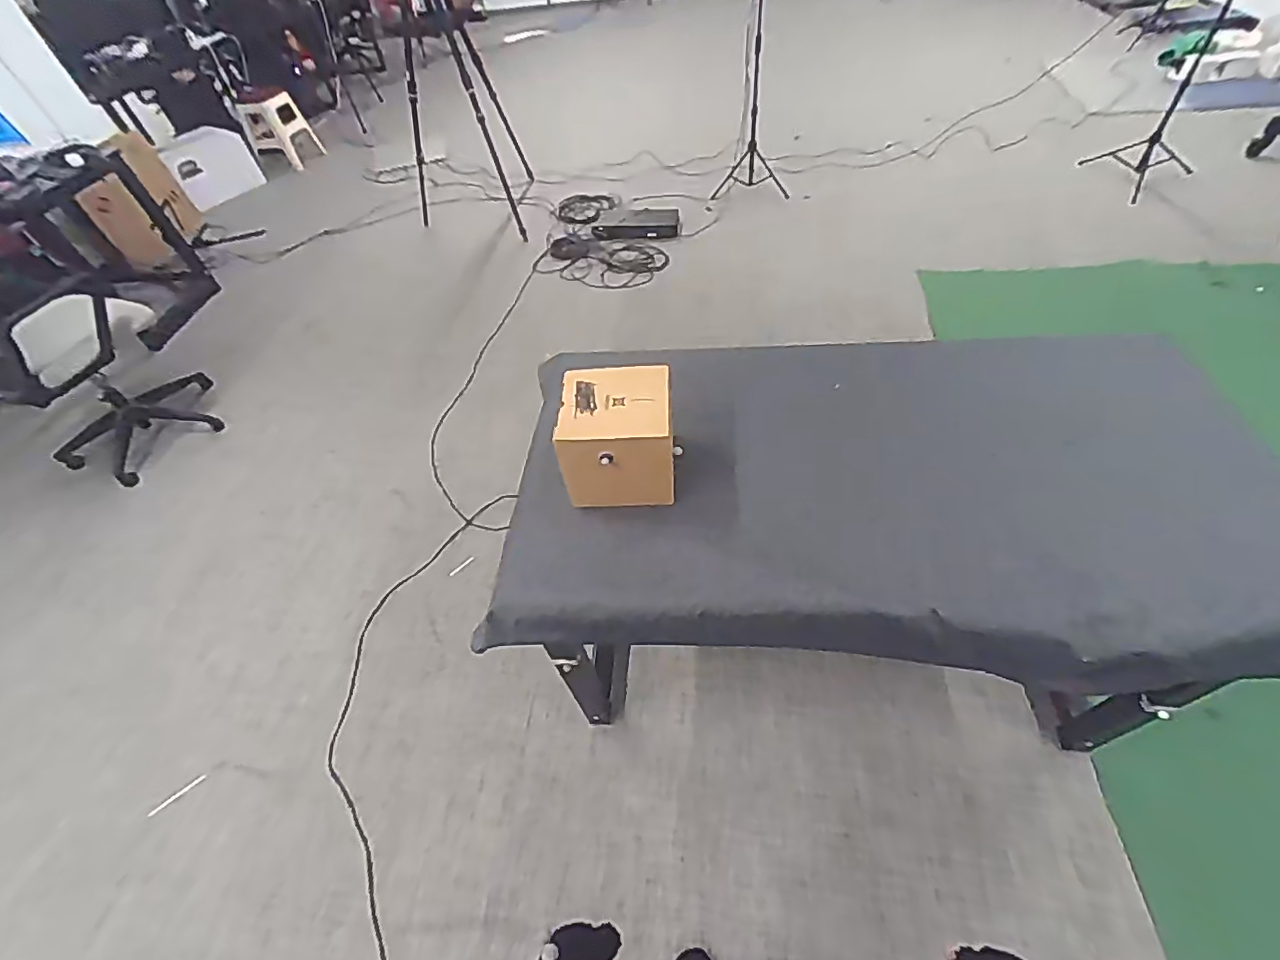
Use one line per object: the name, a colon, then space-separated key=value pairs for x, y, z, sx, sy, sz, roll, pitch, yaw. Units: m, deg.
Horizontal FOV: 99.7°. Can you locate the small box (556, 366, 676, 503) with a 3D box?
small box: x=-0.030 y=-0.072 z=0.917 sx=0.179 sy=0.176 sz=0.168 roll=-1 pitch=51 yaw=5
